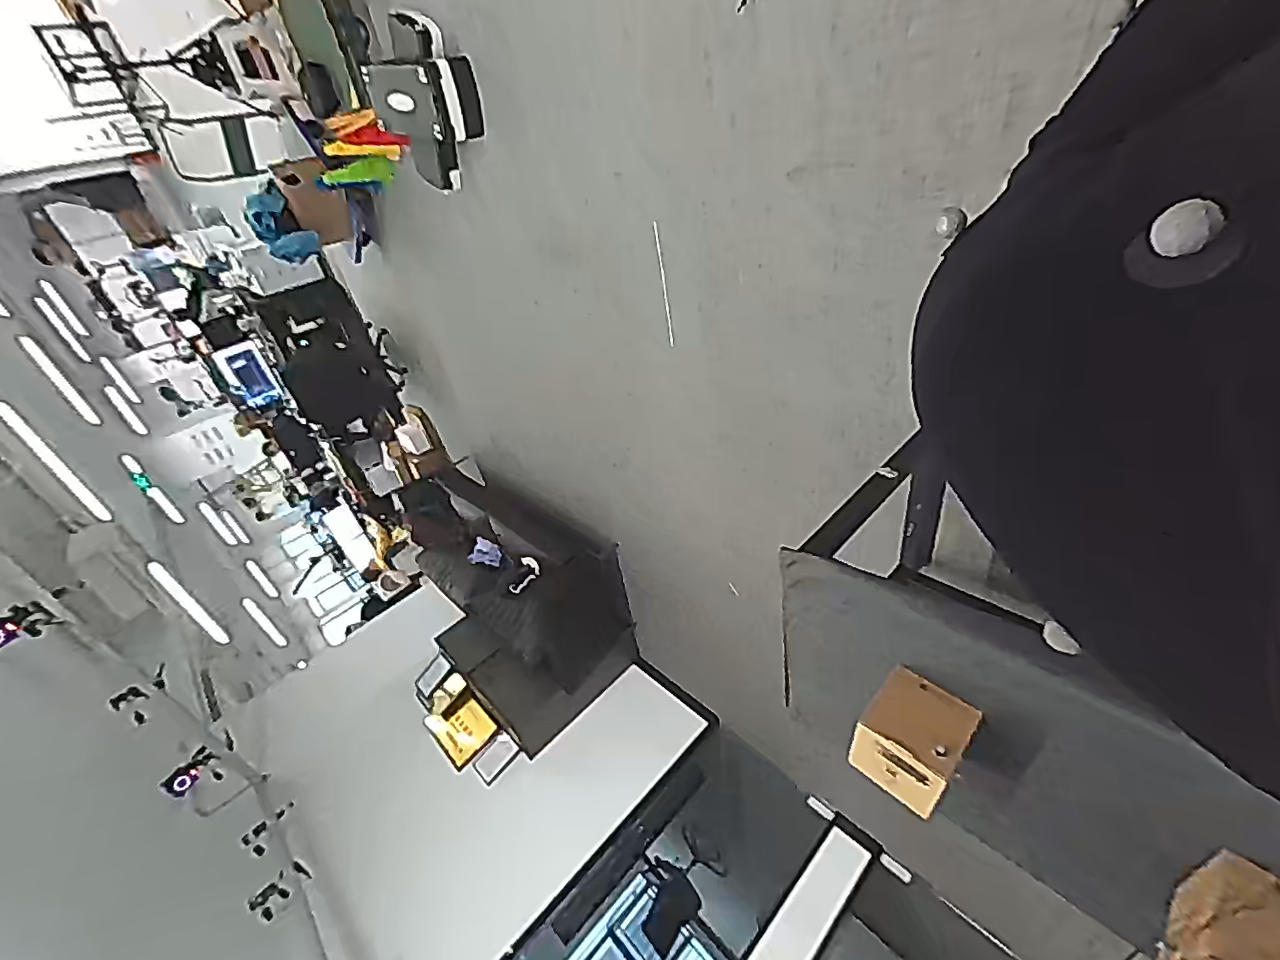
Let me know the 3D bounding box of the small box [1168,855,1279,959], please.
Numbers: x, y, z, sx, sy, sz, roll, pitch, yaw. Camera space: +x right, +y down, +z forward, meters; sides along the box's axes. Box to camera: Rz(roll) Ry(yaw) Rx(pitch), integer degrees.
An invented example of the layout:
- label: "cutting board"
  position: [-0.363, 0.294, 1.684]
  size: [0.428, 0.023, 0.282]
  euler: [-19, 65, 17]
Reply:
- label: "small box"
  position: [0.886, 0.680, 0.752]
  size: [0.168, 0.176, 0.179]
  euler: [25, 139, 40]
